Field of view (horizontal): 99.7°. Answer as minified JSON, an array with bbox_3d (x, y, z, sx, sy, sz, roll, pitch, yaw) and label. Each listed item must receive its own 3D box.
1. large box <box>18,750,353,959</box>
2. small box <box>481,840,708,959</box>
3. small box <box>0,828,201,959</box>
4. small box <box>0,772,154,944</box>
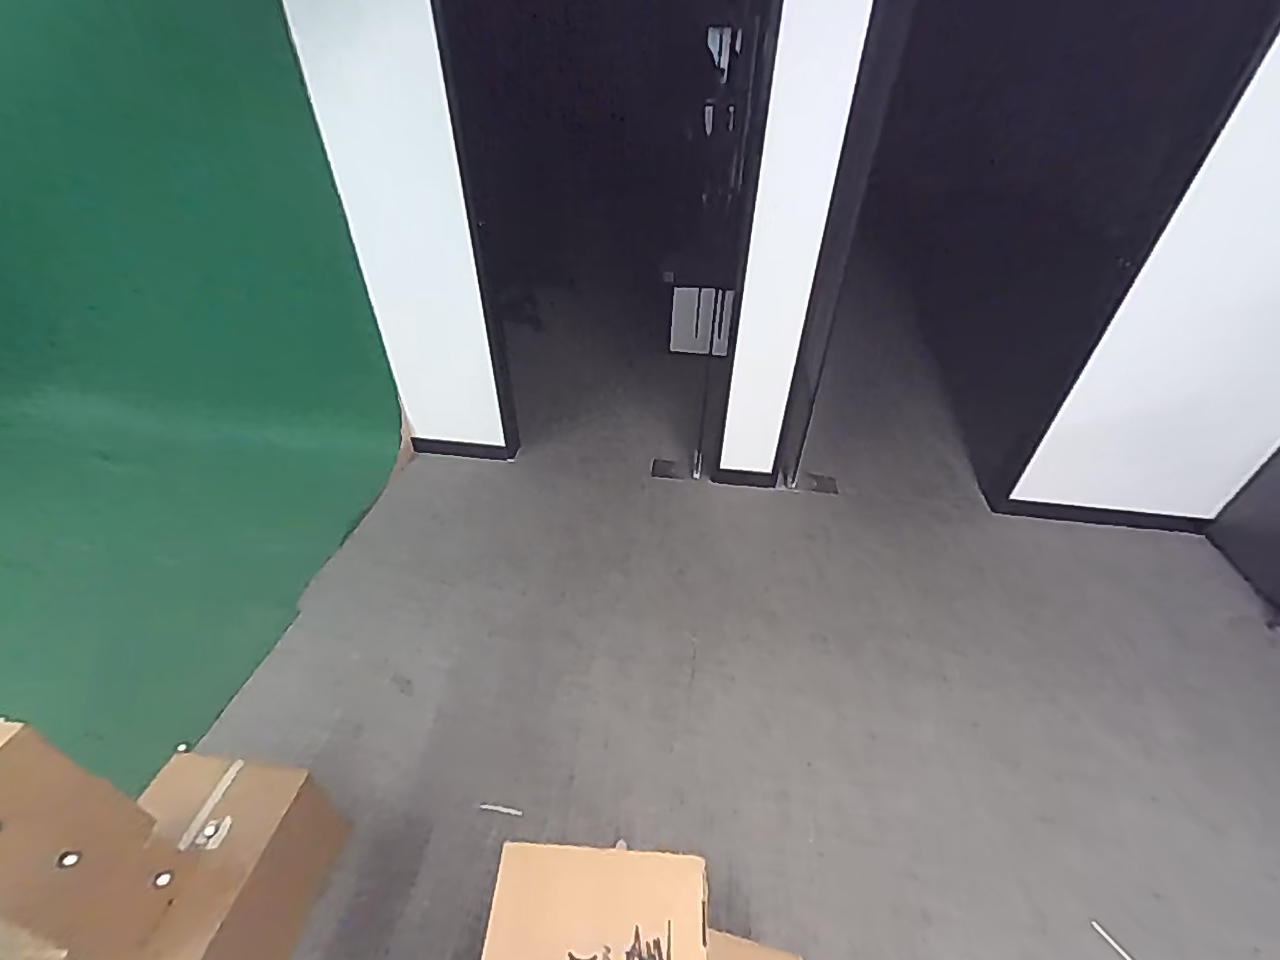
[{"bbox_3d":[-0.875,0.840,1.104,0.320,0.320,0.408,6,38,5],"label":"large box"},{"bbox_3d":[-0.036,0.429,0.466,0.179,0.176,0.168,2,47,3],"label":"small box"},{"bbox_3d":[-0.897,0.691,0.899,0.179,0.176,0.168,4,38,5],"label":"small box"},{"bbox_3d":[-0.893,0.558,0.803,0.168,0.176,0.179,2,37,1],"label":"small box"}]
